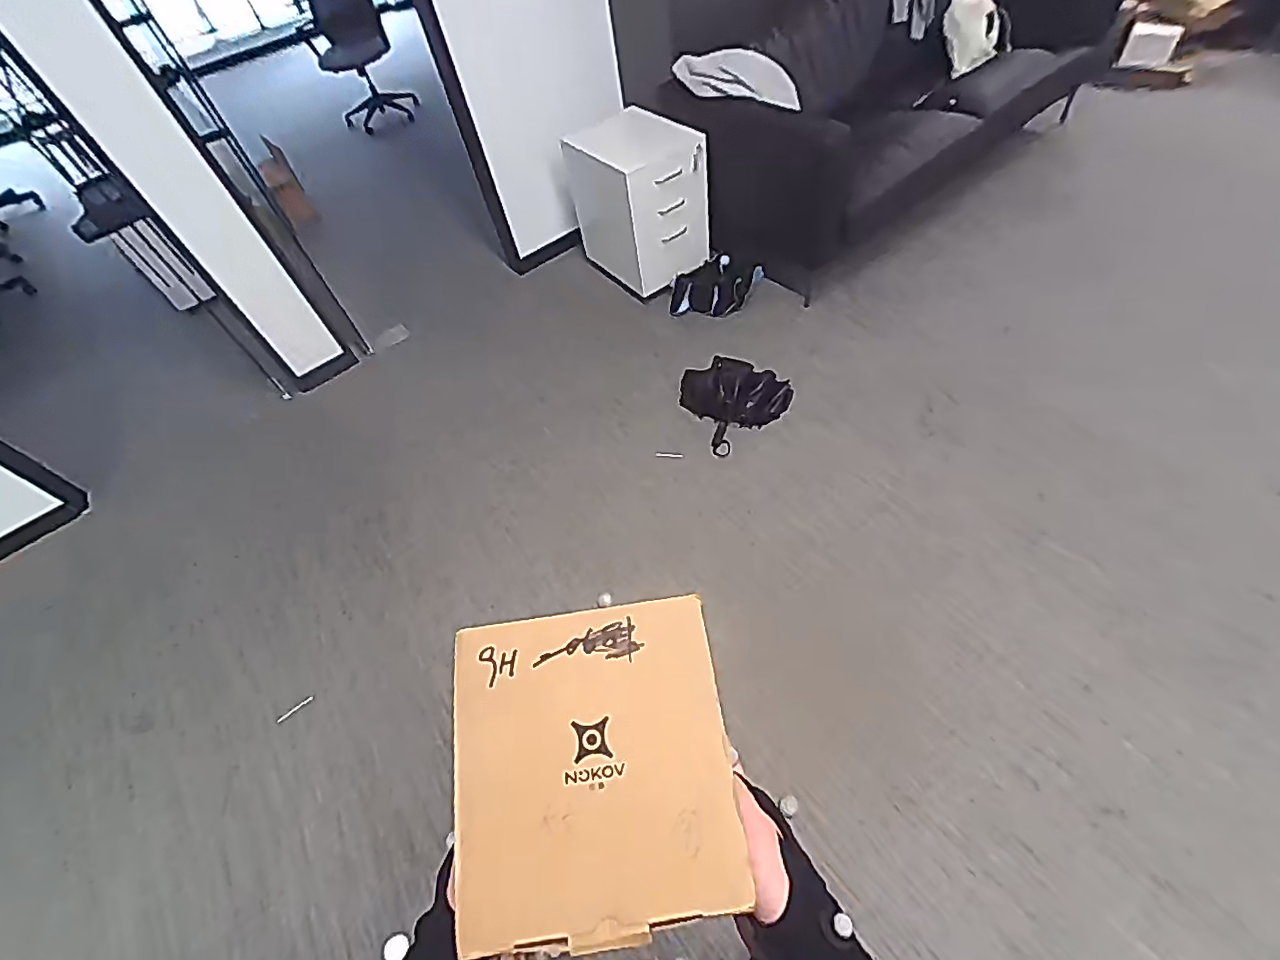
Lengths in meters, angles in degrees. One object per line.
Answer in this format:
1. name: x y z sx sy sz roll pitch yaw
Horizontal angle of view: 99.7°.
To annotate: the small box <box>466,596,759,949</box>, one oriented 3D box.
1. small box: -0.021 0.197 0.401 0.168 0.176 0.179 -8 66 -2
